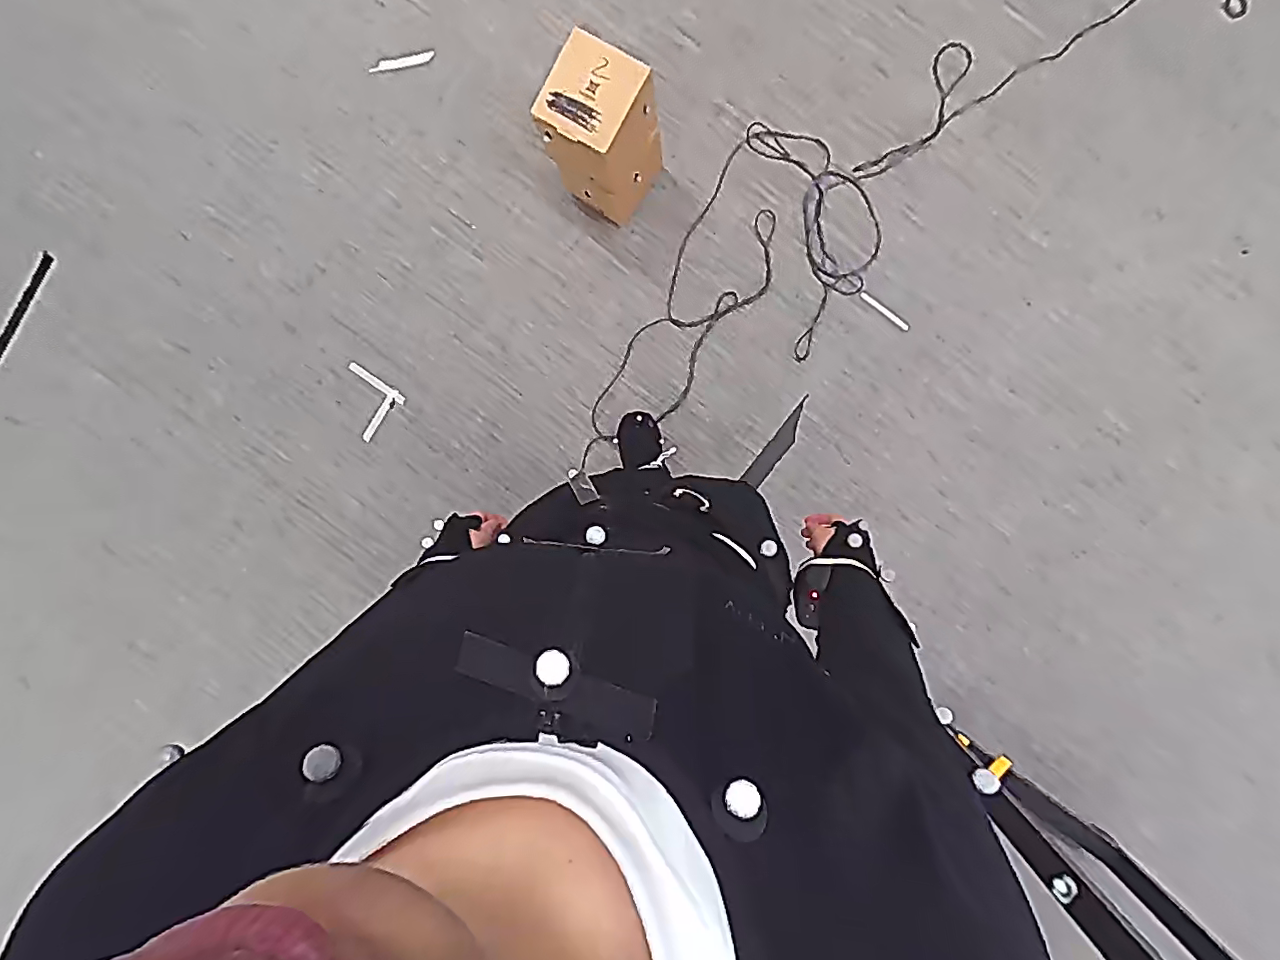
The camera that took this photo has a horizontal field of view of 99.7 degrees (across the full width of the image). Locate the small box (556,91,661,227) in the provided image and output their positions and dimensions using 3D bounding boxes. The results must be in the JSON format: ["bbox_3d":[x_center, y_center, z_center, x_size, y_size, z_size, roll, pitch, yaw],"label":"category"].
[{"bbox_3d":[-0.061,-0.718,1.236,0.168,0.176,0.179,36,96,2],"label":"small box"}]
